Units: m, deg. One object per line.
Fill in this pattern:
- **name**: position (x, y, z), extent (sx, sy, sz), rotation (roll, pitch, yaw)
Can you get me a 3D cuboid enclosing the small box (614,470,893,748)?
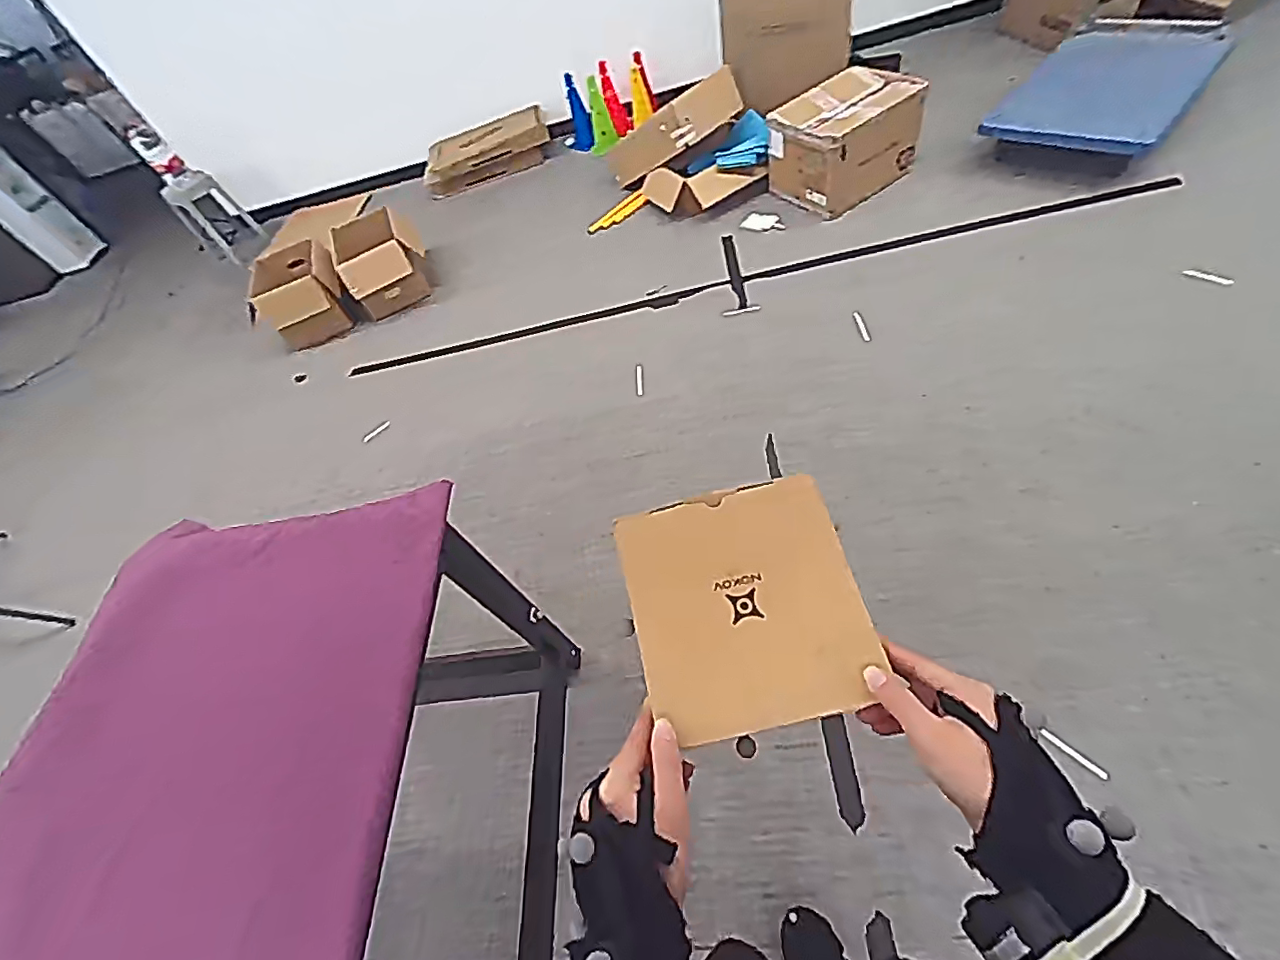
- **small box**: position (0.085, 0.120, 0.467), extent (0.168, 0.176, 0.179), rotation (-14, 62, 1)
